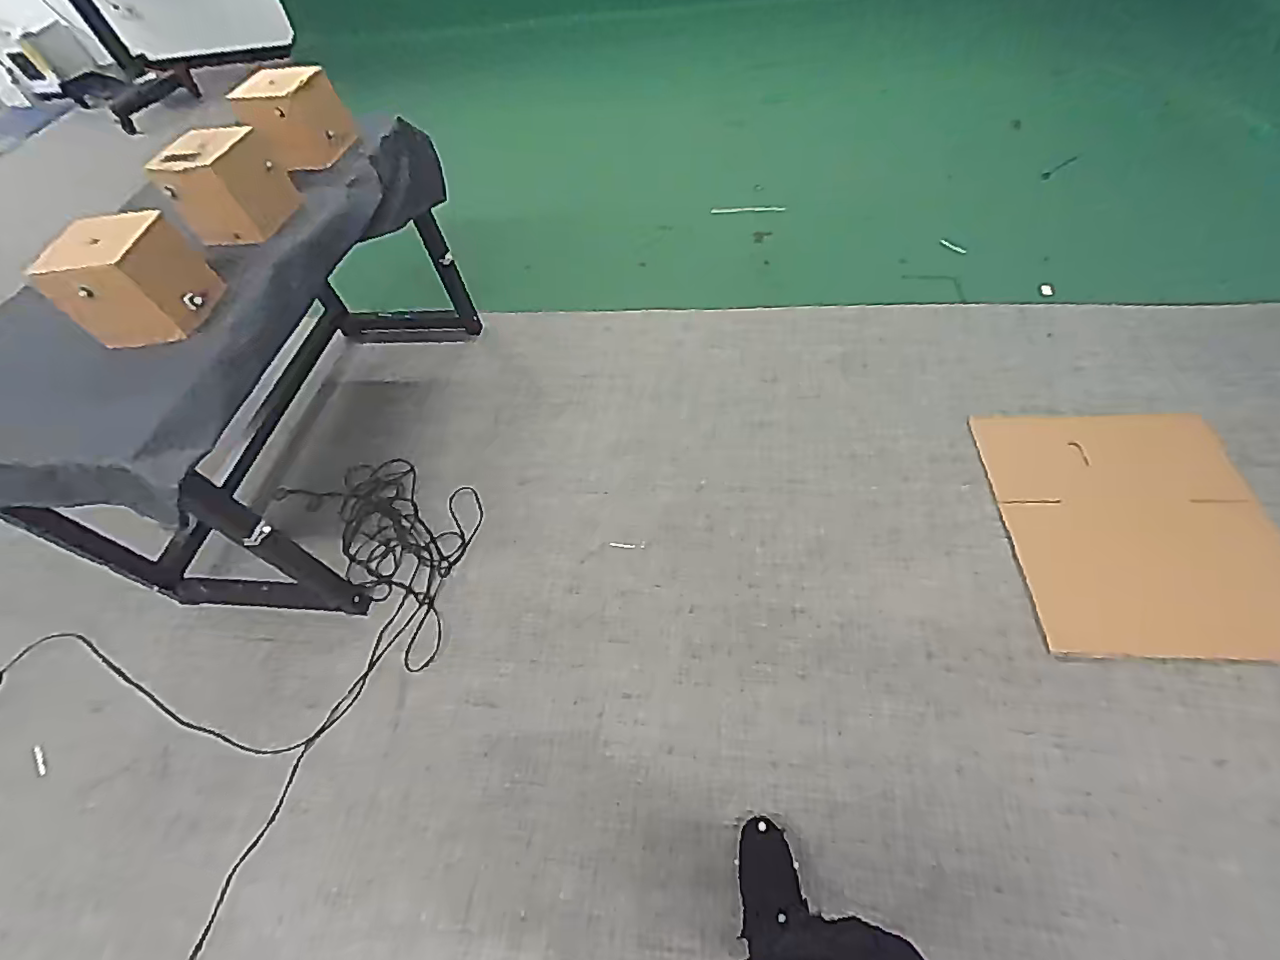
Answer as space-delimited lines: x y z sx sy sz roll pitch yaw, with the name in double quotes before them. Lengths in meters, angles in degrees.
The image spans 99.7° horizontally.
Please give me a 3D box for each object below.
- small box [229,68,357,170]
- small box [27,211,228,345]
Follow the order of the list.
"small box" -0.866 -0.908 1.367 0.179 0.176 0.168 5 57 11
"small box" -0.936 -0.370 1.008 0.179 0.176 0.168 -4 56 4
